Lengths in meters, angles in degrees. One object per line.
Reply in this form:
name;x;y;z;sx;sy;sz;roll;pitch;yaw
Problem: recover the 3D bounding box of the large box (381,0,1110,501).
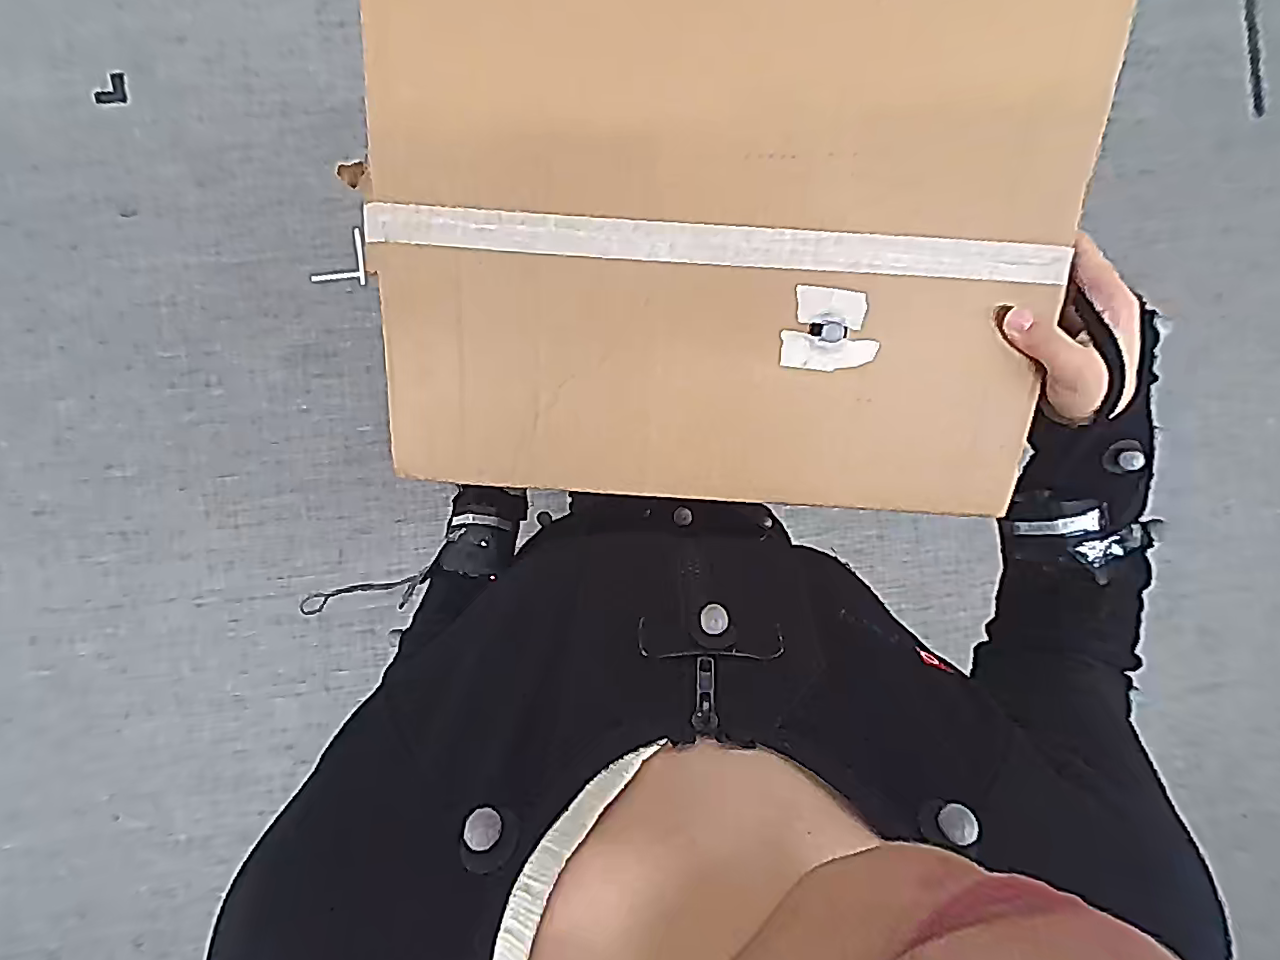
large box;0.050;-0.177;0.470;0.408;0.320;0.320;3;107;-2
